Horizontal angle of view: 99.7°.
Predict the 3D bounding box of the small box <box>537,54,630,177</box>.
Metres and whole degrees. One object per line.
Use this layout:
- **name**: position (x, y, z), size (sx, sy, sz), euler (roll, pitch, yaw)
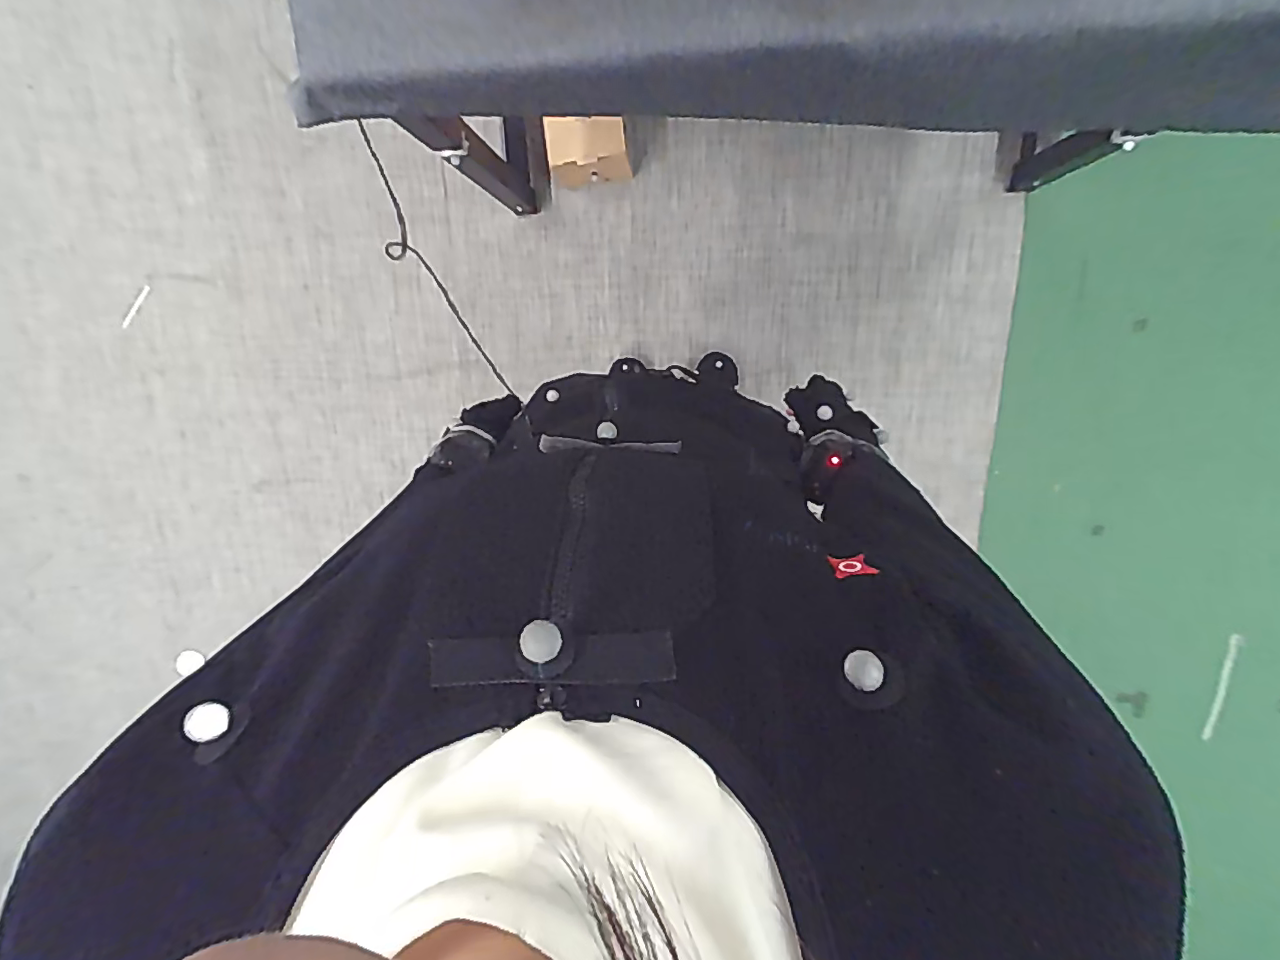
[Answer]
- **small box**: position (-0.115, -0.780, 1.179), size (0.168, 0.176, 0.179), euler (-4, 104, 5)
